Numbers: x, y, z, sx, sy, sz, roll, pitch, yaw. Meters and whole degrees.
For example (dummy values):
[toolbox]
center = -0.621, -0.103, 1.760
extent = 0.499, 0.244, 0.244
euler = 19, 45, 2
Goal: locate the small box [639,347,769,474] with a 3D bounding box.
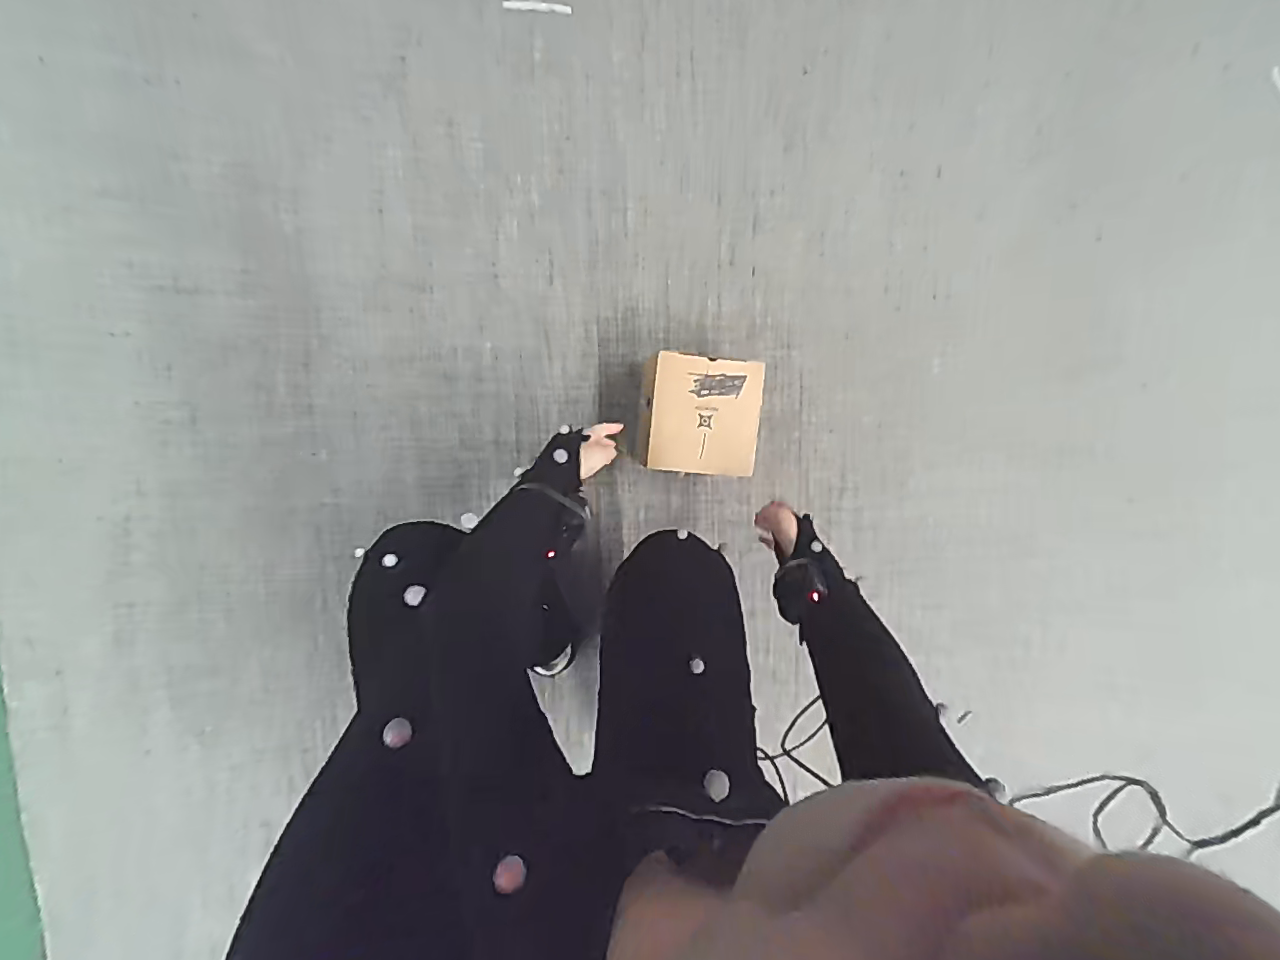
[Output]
[small box]
center = 0.094, -0.110, 0.880
extent = 0.168, 0.176, 0.179
euler = 4, 97, -8
